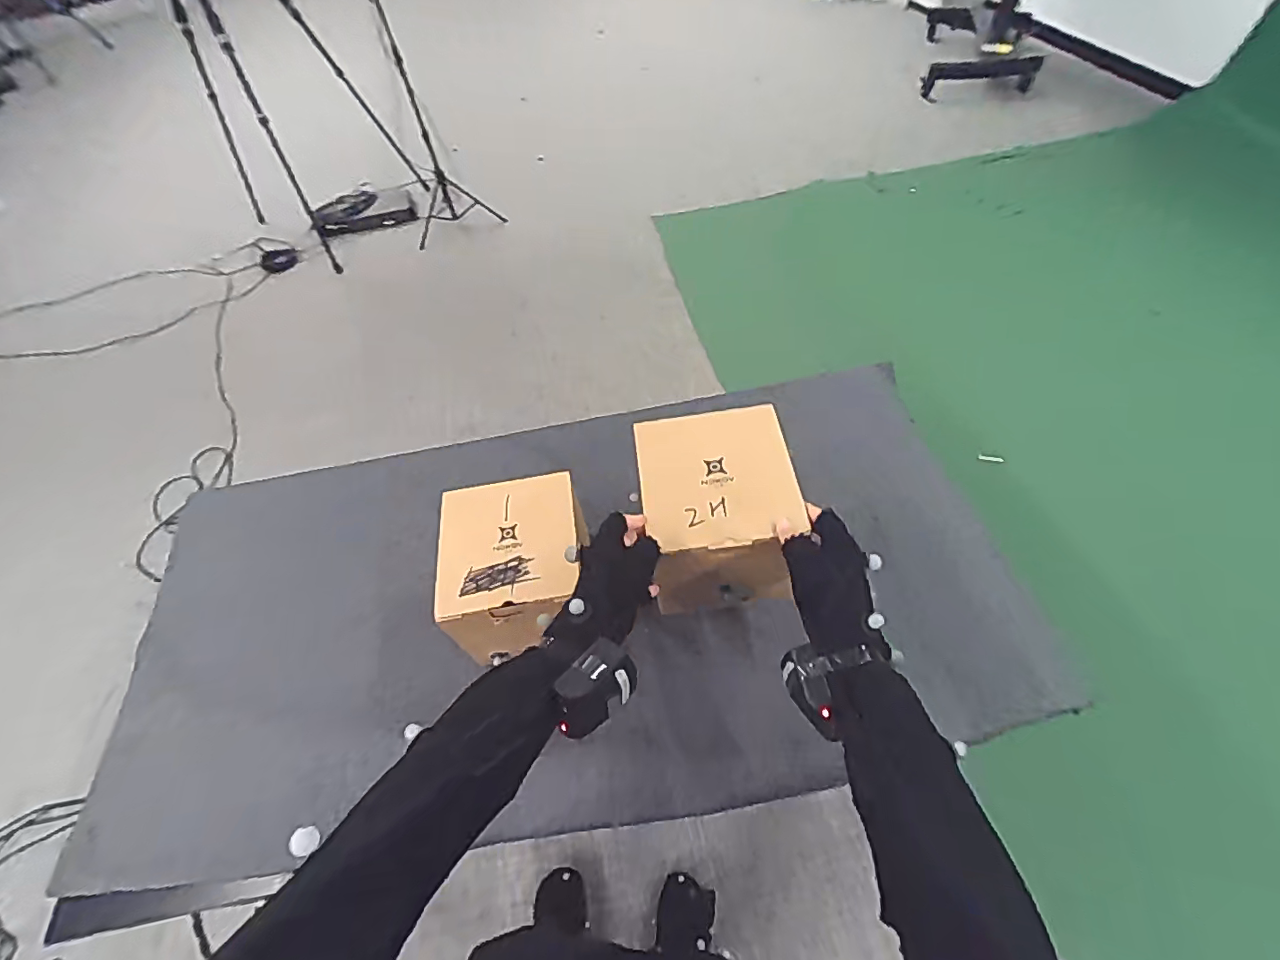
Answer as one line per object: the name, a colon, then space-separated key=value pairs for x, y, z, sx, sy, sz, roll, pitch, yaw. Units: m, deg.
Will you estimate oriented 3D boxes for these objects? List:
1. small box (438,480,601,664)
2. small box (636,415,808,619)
small box: x=-0.149 y=0.128 z=0.710 sx=0.168 sy=0.176 sz=0.179 roll=-9 pitch=53 yaw=-2
small box: x=0.089 y=0.049 z=0.655 sx=0.168 sy=0.176 sz=0.179 roll=-8 pitch=55 yaw=3
